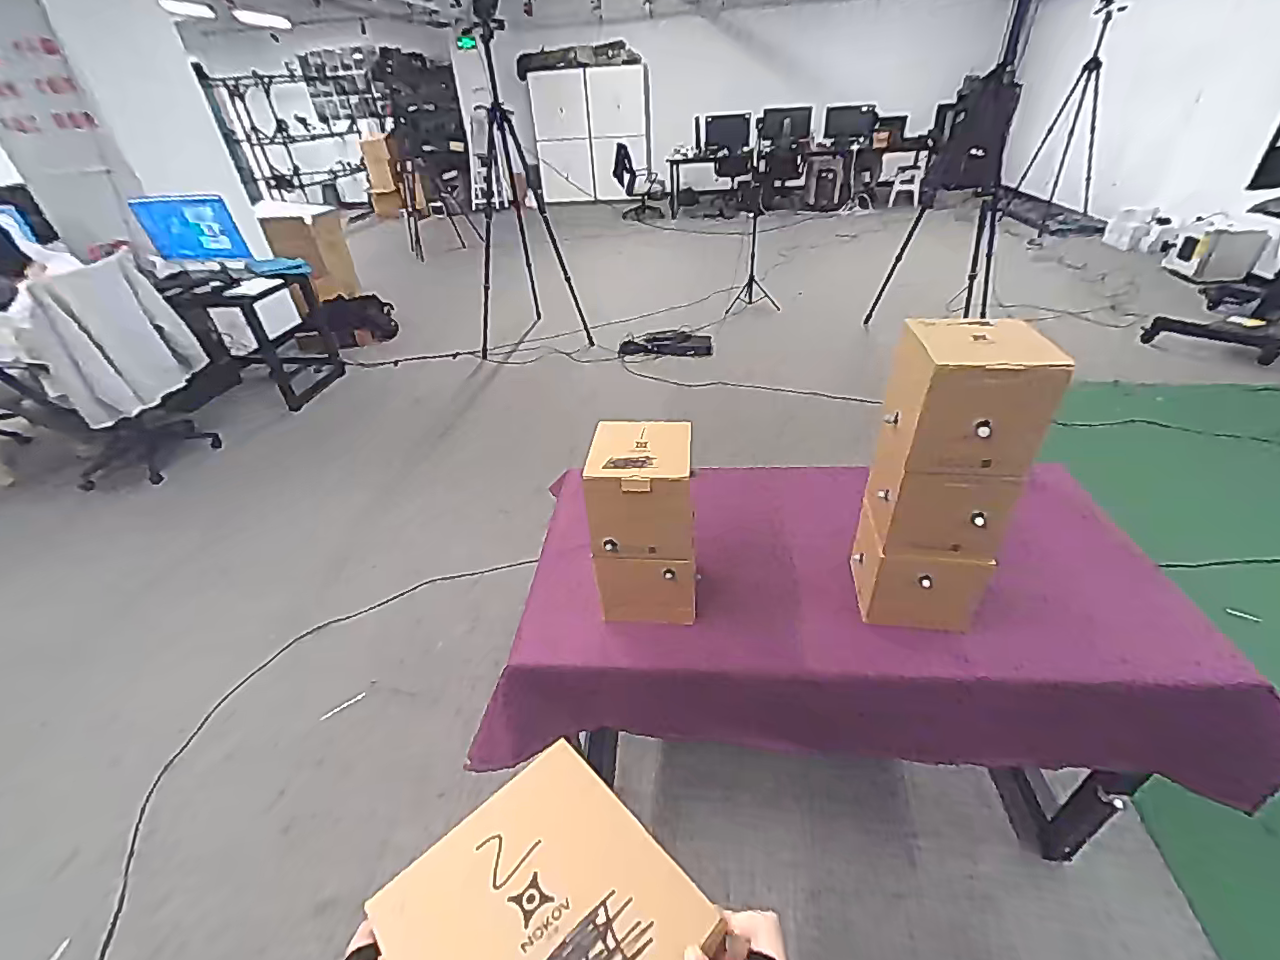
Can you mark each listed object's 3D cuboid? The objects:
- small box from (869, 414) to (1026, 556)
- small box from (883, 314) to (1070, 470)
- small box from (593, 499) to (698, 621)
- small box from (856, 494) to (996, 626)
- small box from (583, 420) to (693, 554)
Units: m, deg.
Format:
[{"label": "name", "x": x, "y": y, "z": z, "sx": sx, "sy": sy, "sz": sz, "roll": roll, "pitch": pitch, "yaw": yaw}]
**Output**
[{"label": "small box", "x": 0.482, "y": 0.005, "z": 0.879, "sx": 0.168, "sy": 0.176, "sz": 0.179, "roll": 3, "pitch": 36, "yaw": 11}, {"label": "small box", "x": 0.467, "y": -0.129, "z": 0.785, "sx": 0.168, "sy": 0.176, "sz": 0.179, "roll": 3, "pitch": 37, "yaw": 10}, {"label": "small box", "x": 0.019, "y": 0.149, "z": 1.022, "sx": 0.179, "sy": 0.176, "sz": 0.168, "roll": 1, "pitch": 36, "yaw": 7}, {"label": "small box", "x": 0.493, "y": 0.142, "z": 0.967, "sx": 0.179, "sy": 0.176, "sz": 0.168, "roll": 3, "pitch": 37, "yaw": 11}, {"label": "small box", "x": 0.006, "y": 0.013, "z": 0.931, "sx": 0.168, "sy": 0.176, "sz": 0.179, "roll": 0, "pitch": 35, "yaw": 7}]
